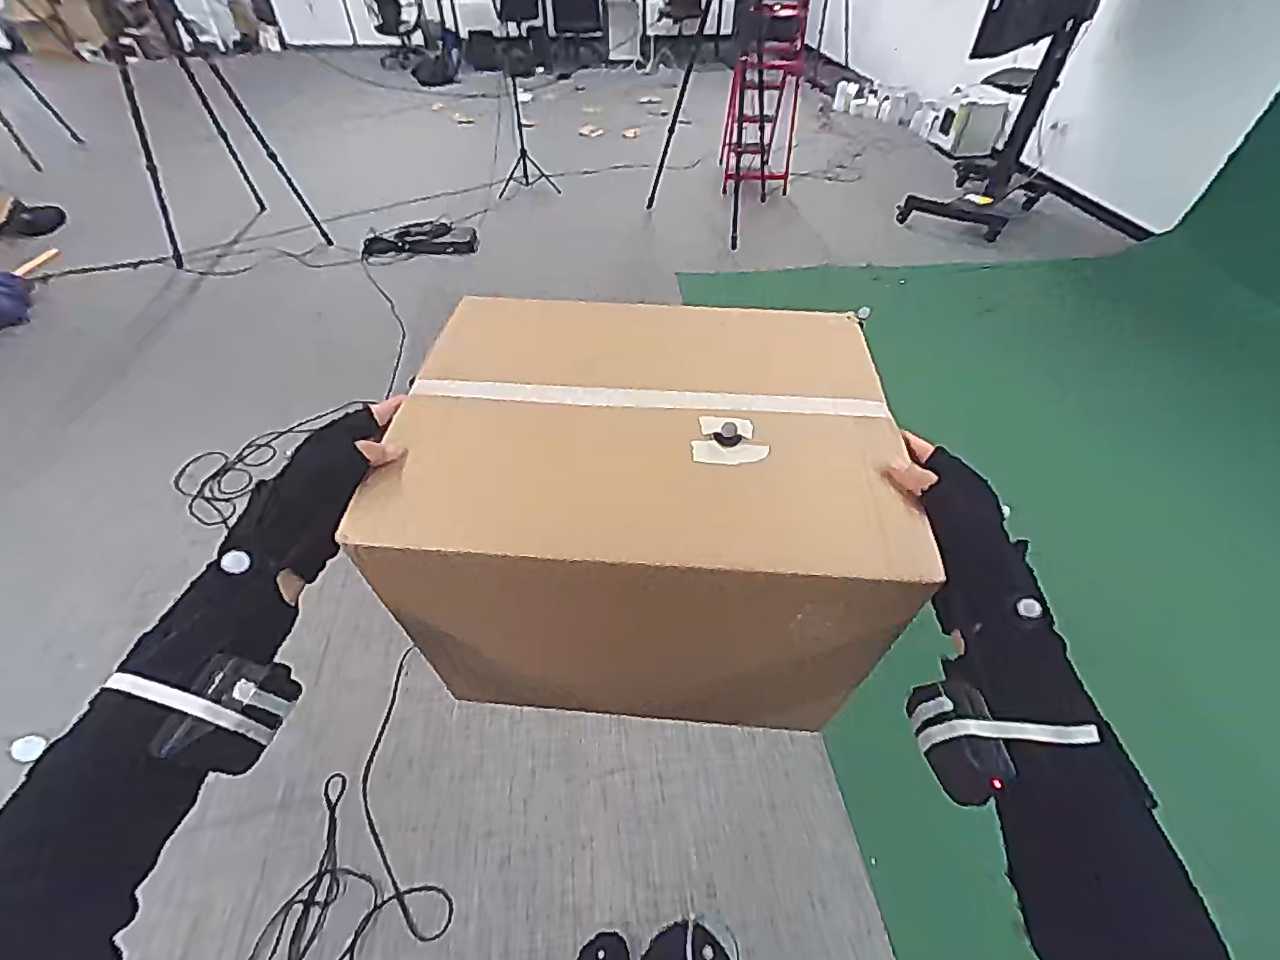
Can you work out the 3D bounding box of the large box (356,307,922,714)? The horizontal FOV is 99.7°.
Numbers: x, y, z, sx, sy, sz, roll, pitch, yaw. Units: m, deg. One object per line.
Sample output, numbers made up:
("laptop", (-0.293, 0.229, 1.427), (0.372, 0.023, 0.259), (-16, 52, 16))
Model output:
("large box", (0.002, 0.037, 0.581), (0.408, 0.320, 0.320), (3, 50, 2))
